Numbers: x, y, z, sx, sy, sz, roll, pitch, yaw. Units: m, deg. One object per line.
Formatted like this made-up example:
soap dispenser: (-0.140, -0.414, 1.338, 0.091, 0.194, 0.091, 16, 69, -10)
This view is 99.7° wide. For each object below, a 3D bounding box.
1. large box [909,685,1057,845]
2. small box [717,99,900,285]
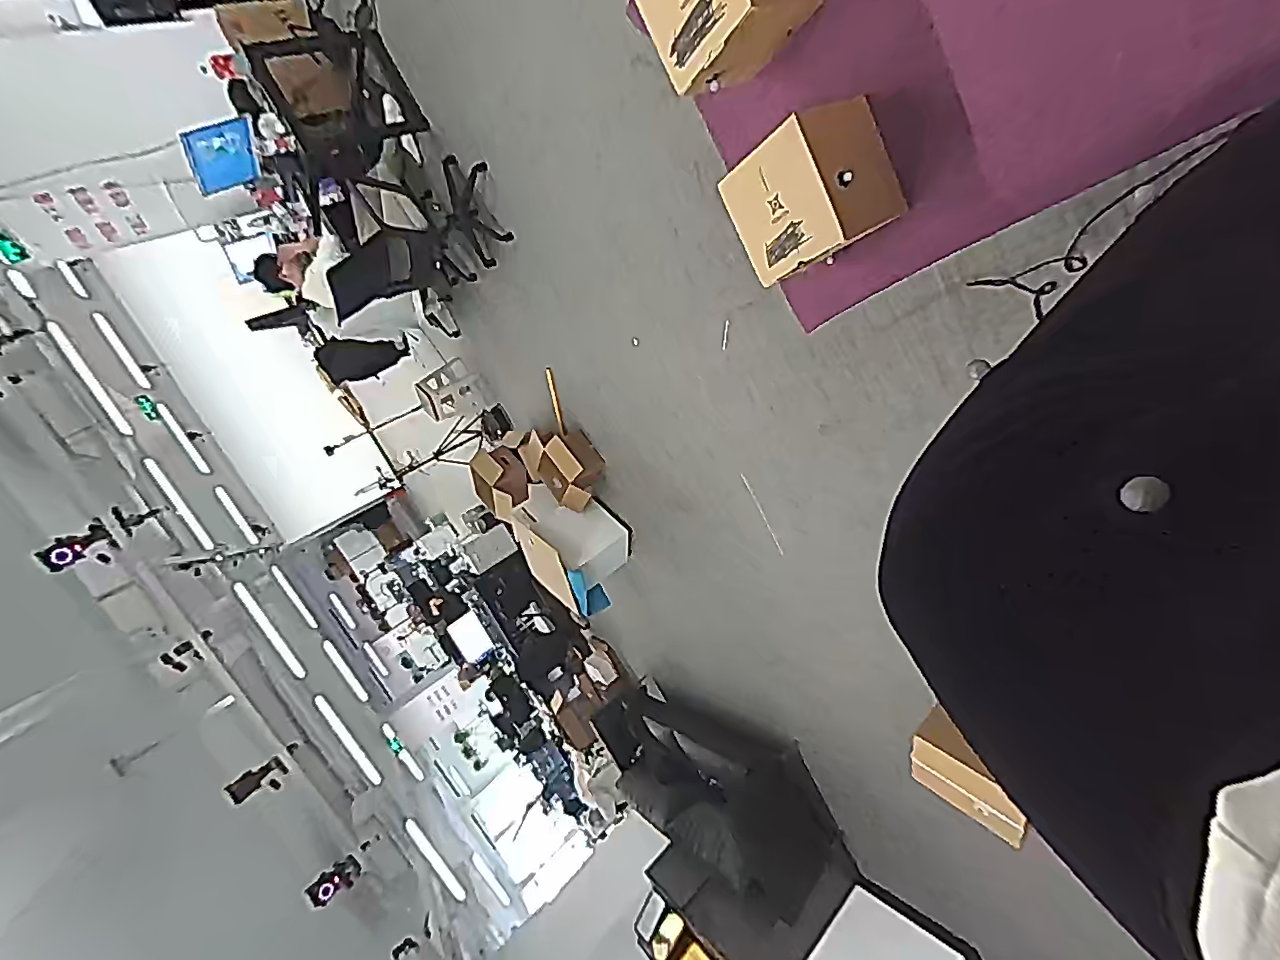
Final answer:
large box: (1.336, 1.102, 2.135, 0.408, 0.320, 0.320, 22, 137, 45)
small box: (0.255, -0.429, 0.813, 0.168, 0.176, 0.179, -10, 110, 60)
